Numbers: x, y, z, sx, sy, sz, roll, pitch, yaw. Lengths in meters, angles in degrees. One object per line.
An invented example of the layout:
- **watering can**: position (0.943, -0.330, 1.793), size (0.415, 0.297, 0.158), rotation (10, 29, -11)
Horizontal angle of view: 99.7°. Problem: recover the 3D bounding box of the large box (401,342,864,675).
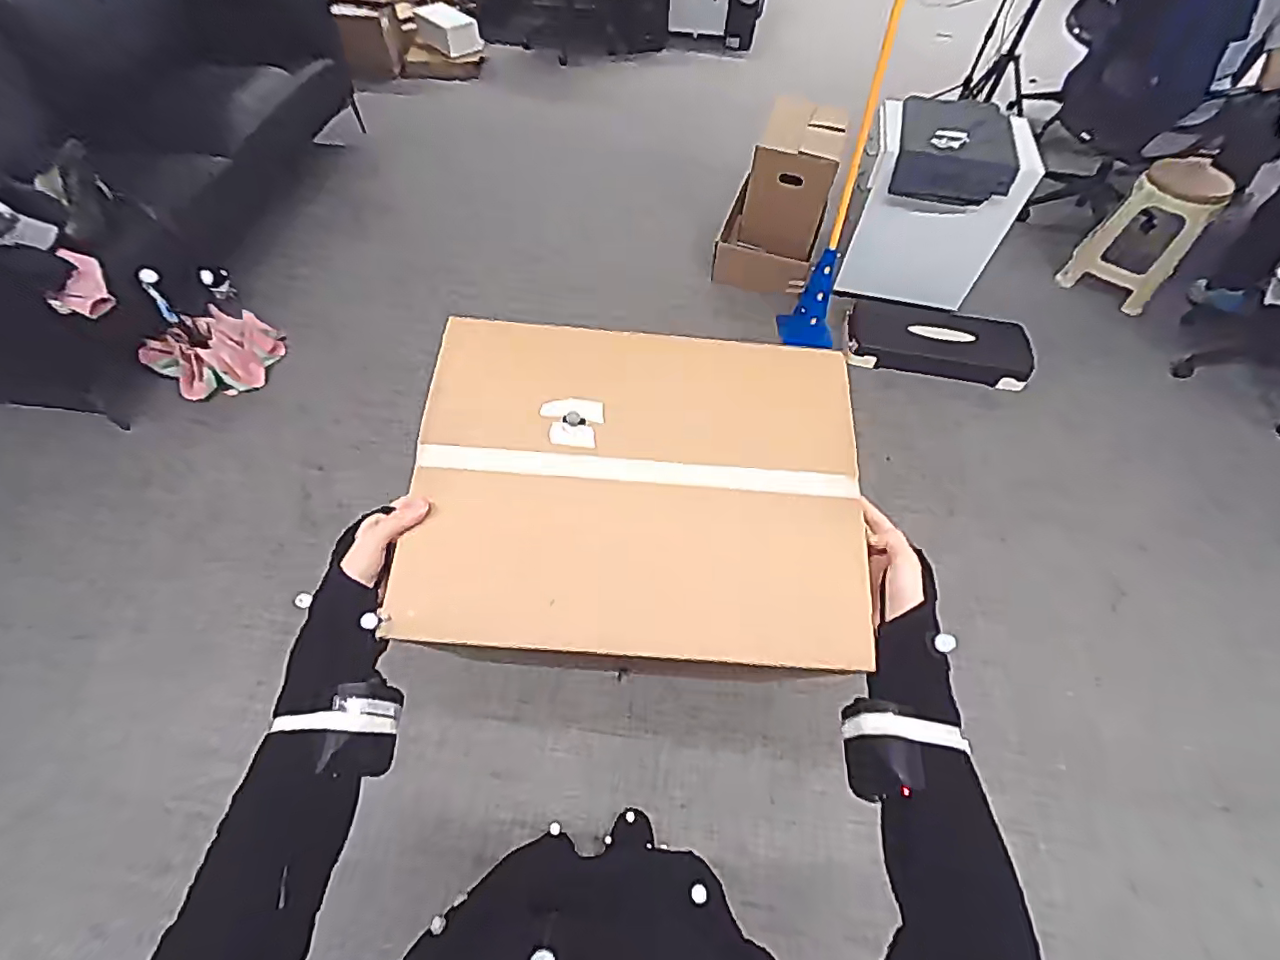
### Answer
- **large box**: position (-0.002, 0.062, 0.651), size (0.408, 0.320, 0.320), rotation (4, 67, -1)
